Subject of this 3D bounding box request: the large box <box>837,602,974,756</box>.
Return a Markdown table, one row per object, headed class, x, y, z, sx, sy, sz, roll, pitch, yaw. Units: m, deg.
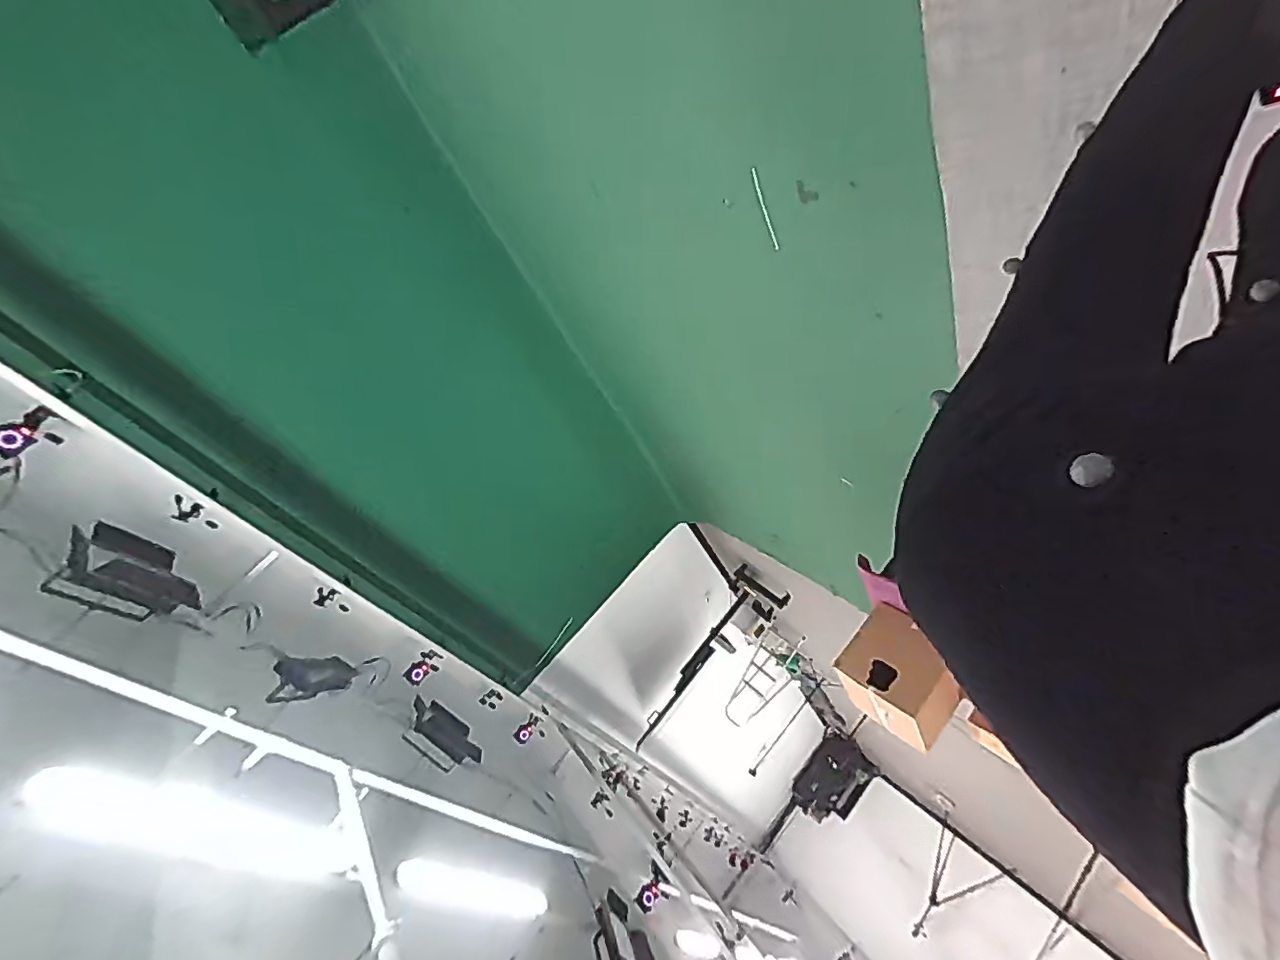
| class | x | y | z | sx | sy | sz | roll | pitch | yaw |
| --- | --- | --- | --- | --- | --- | --- | --- | --- | --- |
| large box | 0.985 | 0.727 | 1.989 | 0.320 | 0.320 | 0.408 | 26 | 158 | 47 |
